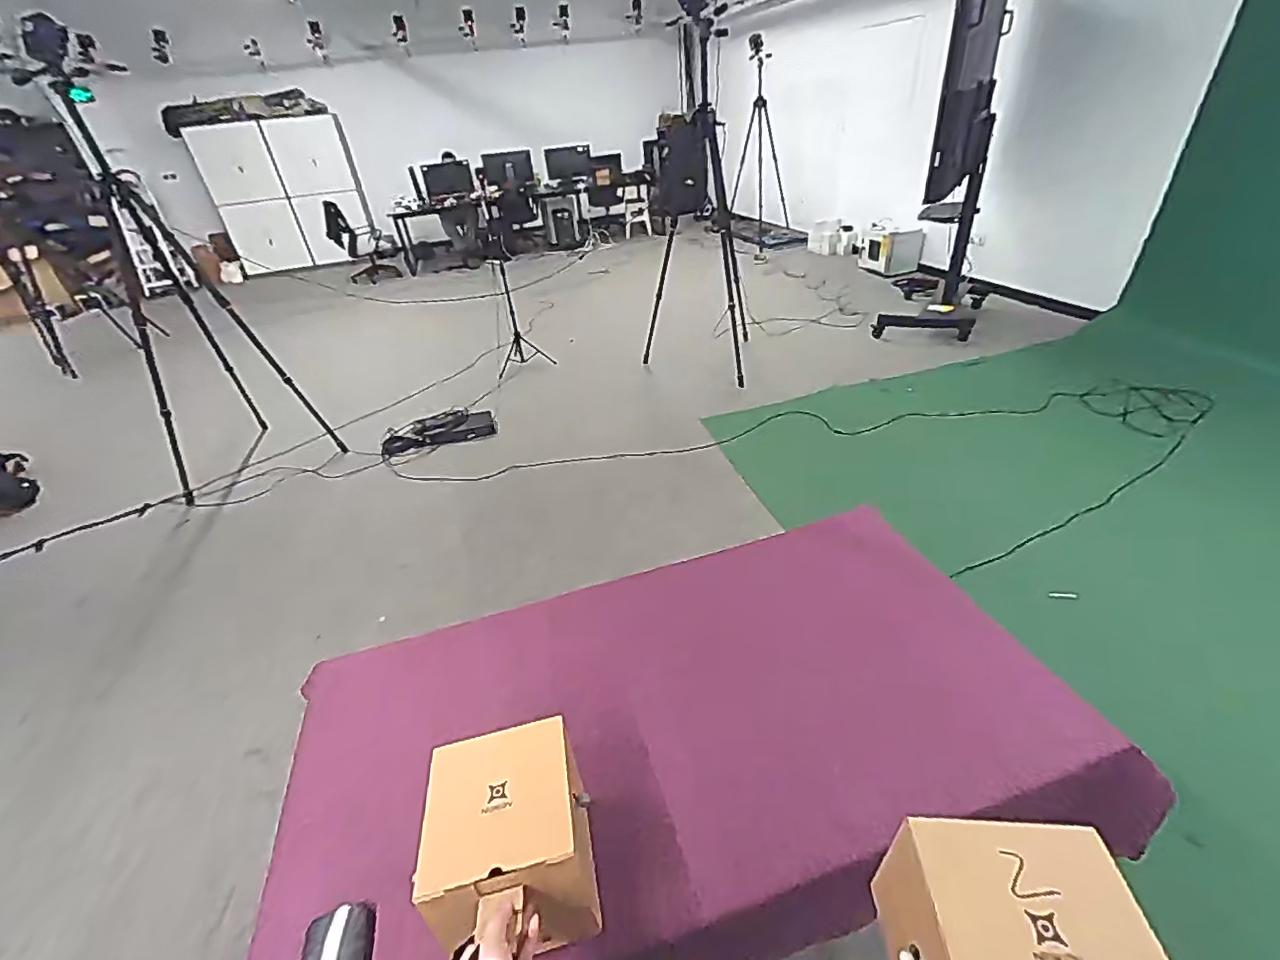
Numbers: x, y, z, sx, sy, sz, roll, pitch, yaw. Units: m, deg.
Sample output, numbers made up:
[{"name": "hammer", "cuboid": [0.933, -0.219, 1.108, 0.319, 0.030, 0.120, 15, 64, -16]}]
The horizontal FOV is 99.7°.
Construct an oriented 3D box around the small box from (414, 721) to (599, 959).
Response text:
[{"name": "small box", "cuboid": [-0.150, 0.432, 0.647, 0.168, 0.176, 0.179, -12, 29, -7]}]
